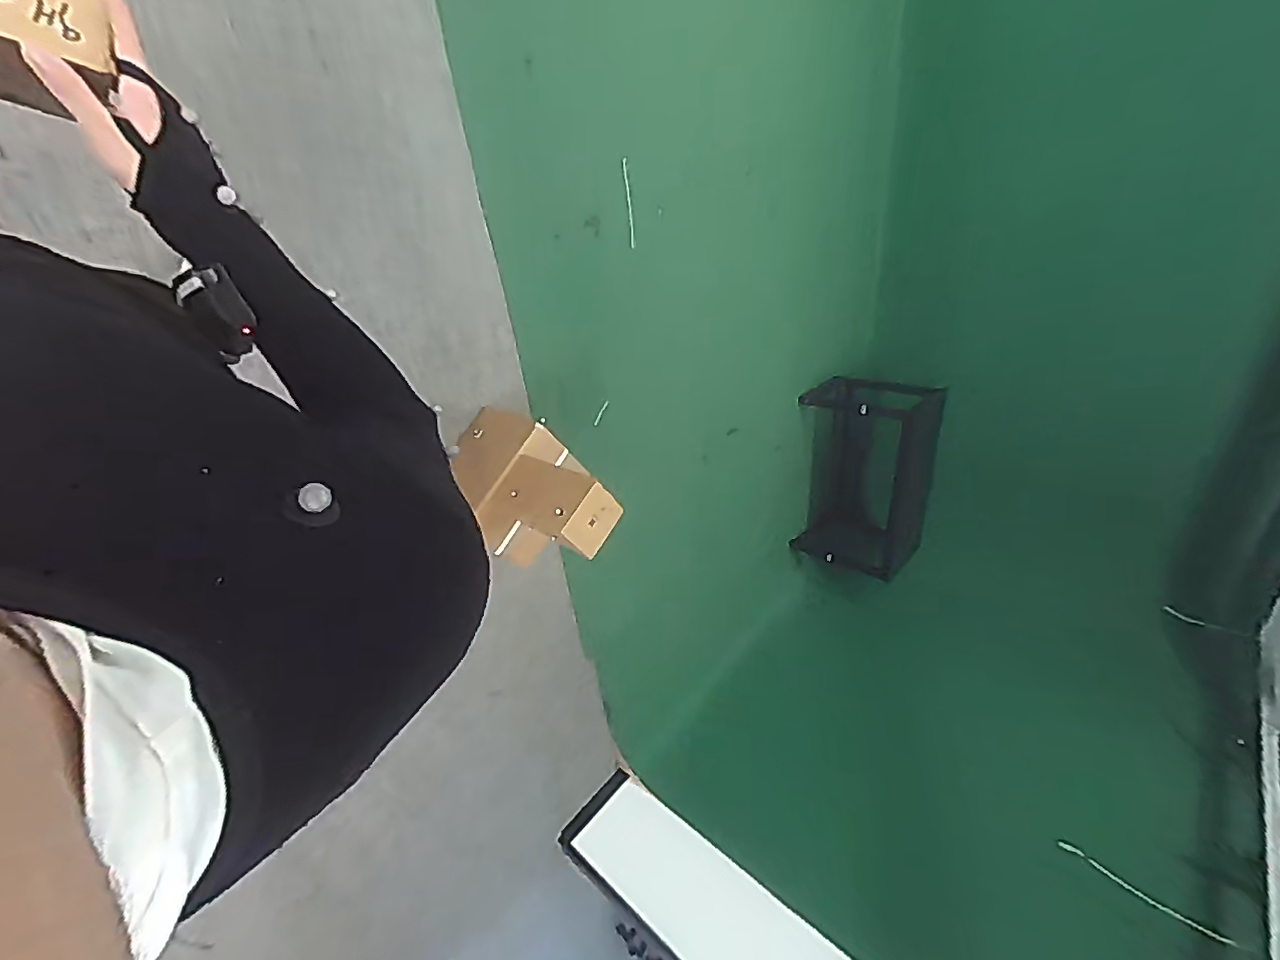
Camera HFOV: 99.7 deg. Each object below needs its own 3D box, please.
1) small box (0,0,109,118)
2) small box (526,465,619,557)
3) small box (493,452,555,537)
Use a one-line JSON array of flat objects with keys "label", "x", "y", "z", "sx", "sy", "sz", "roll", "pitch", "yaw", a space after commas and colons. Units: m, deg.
[{"label": "small box", "x": -0.520, "y": -0.416, "z": 0.406, "sx": 0.168, "sy": 0.176, "sz": 0.179, "roll": -2, "pitch": 103, "yaw": -46}, {"label": "small box", "x": -0.198, "y": 0.084, "z": 1.535, "sx": 0.179, "sy": 0.176, "sz": 0.168, "roll": -56, "pitch": 140, "yaw": -17}, {"label": "small box", "x": -0.319, "y": 0.041, "z": 1.639, "sx": 0.179, "sy": 0.176, "sz": 0.168, "roll": -58, "pitch": 139, "yaw": -16}]
